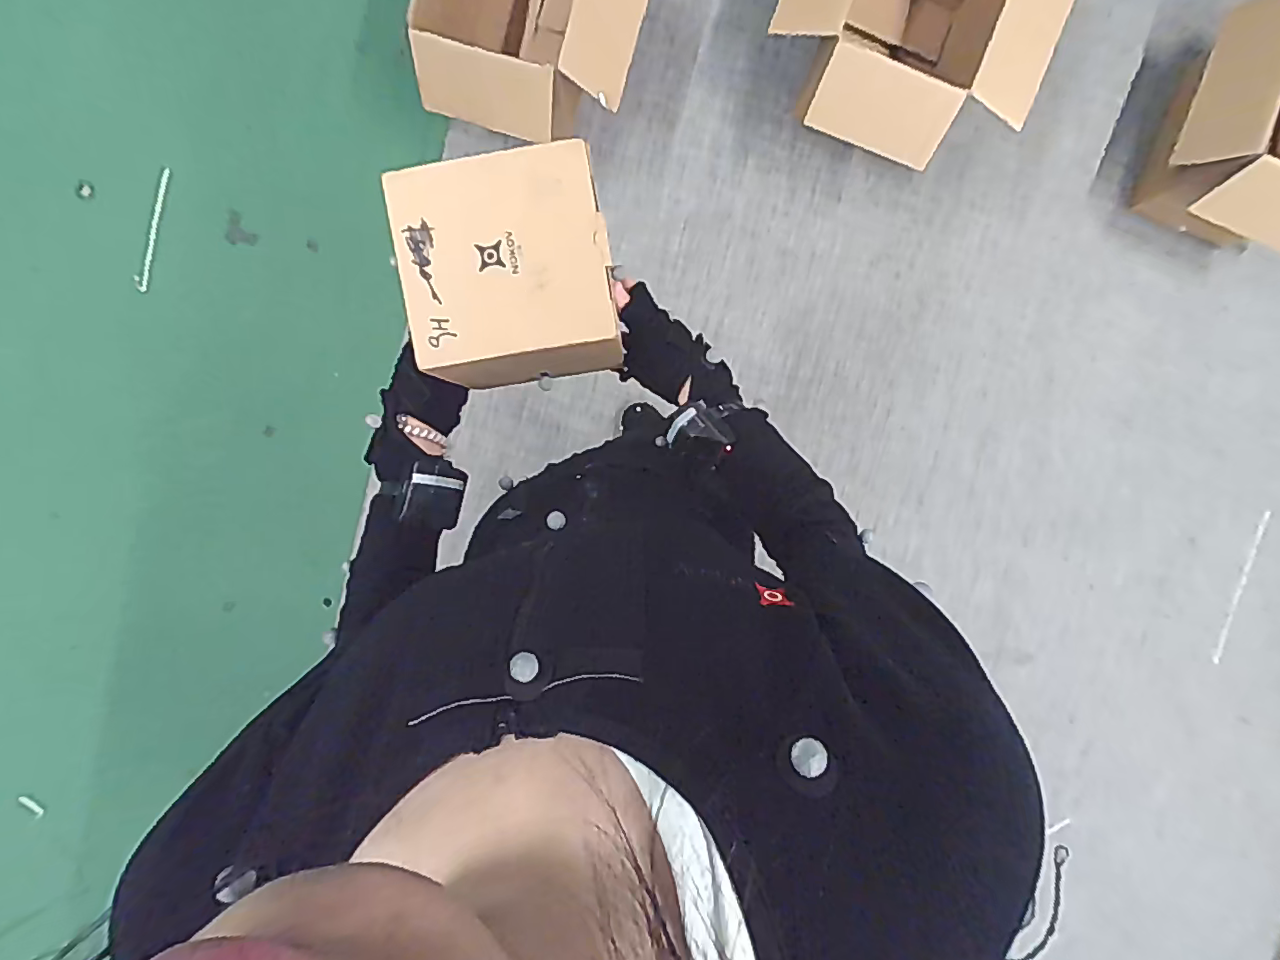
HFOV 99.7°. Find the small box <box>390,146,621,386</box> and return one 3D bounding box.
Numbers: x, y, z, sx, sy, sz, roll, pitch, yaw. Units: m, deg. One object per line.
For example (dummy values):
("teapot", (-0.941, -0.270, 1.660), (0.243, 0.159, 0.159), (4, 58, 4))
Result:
("small box", (-0.115, -0.194, 0.538), (0.179, 0.176, 0.168), (-9, 92, 0))
